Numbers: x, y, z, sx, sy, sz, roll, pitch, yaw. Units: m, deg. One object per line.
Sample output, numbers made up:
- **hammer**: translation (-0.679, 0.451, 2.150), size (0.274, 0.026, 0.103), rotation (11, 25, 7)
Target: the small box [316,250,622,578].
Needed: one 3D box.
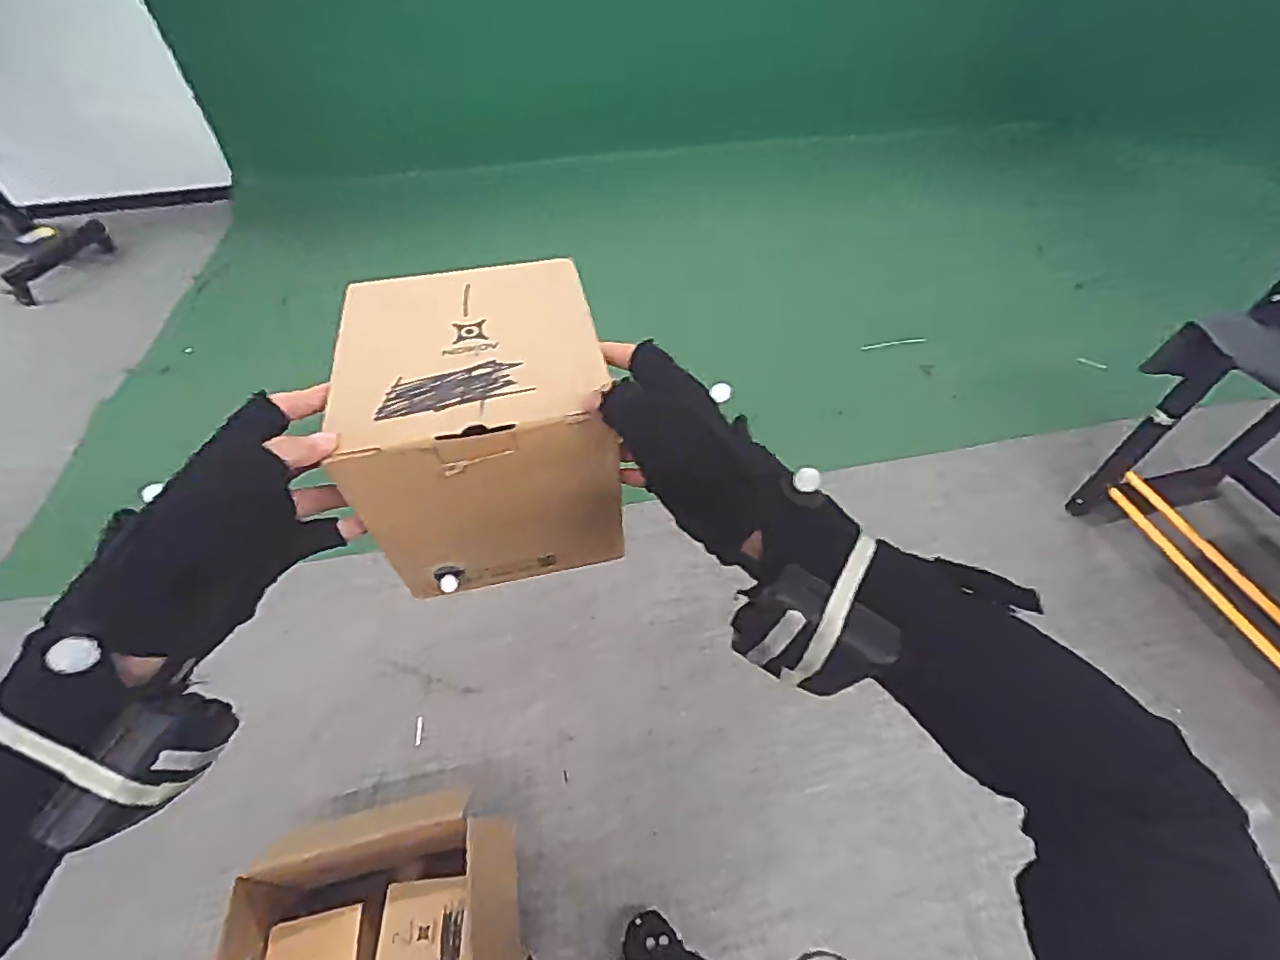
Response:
- **small box**: translation (-0.110, -0.042, 0.407), size (0.168, 0.176, 0.179), rotation (-10, 51, -8)
